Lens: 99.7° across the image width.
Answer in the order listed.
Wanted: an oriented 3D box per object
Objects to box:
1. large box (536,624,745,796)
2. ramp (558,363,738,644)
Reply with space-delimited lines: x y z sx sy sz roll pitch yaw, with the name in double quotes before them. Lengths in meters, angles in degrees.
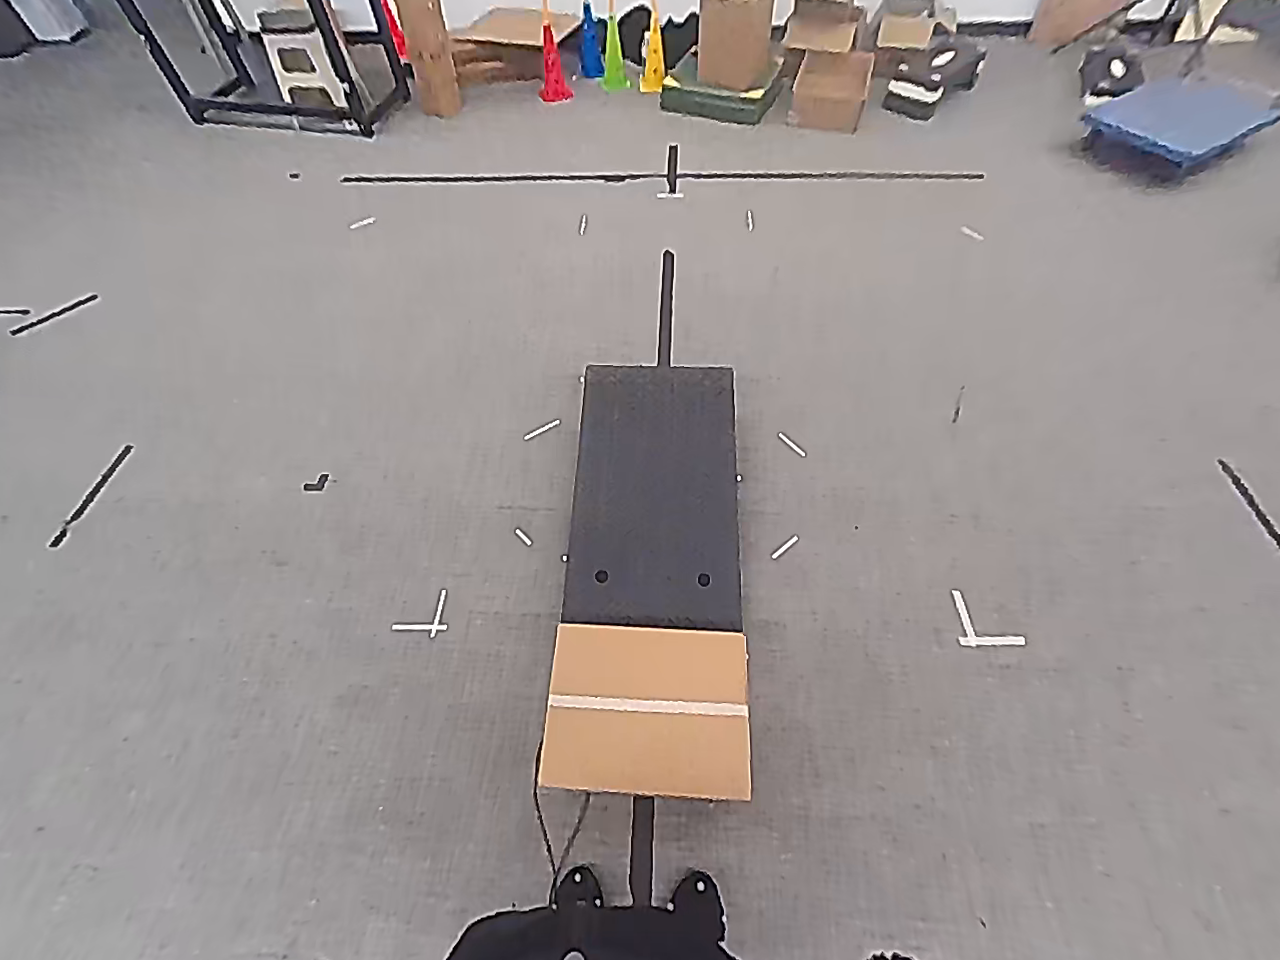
"large box" 0.009 0.526 1.226 0.408 0.320 0.320 3 60 2
"ramp" 0.036 0.076 1.606 0.509 0.206 0.991 1 57 0
